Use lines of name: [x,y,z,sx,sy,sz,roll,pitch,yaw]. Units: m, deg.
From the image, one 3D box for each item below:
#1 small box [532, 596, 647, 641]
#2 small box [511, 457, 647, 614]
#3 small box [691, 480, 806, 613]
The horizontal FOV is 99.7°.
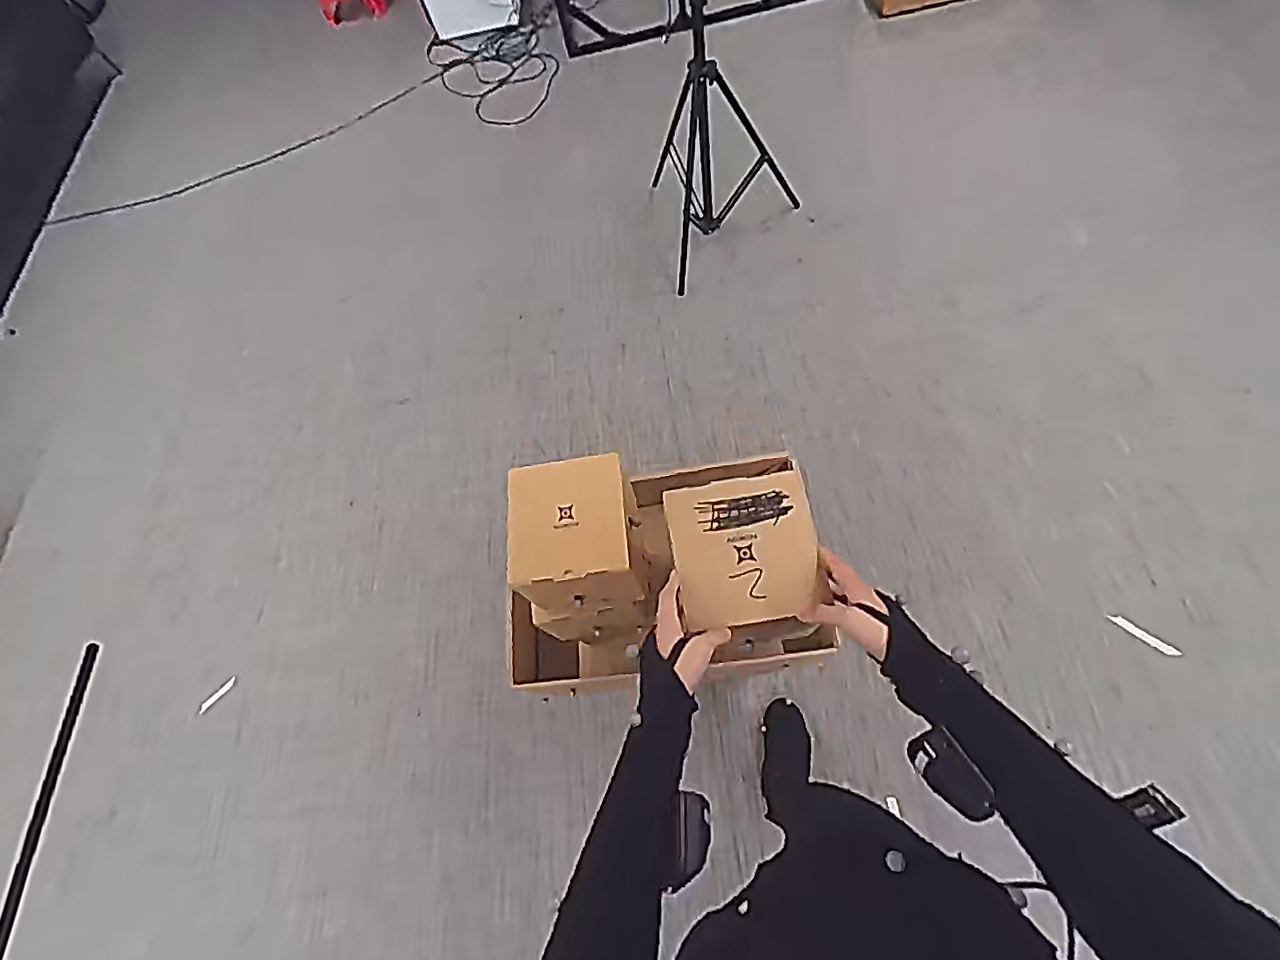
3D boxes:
small box: [-0.089,0.172,0.951,0.168,0.176,0.179,-13,65,3]
small box: [-0.087,0.089,0.808,0.168,0.176,0.179,-10,65,4]
small box: [0.178,0.119,0.922,0.168,0.176,0.179,-6,64,9]
